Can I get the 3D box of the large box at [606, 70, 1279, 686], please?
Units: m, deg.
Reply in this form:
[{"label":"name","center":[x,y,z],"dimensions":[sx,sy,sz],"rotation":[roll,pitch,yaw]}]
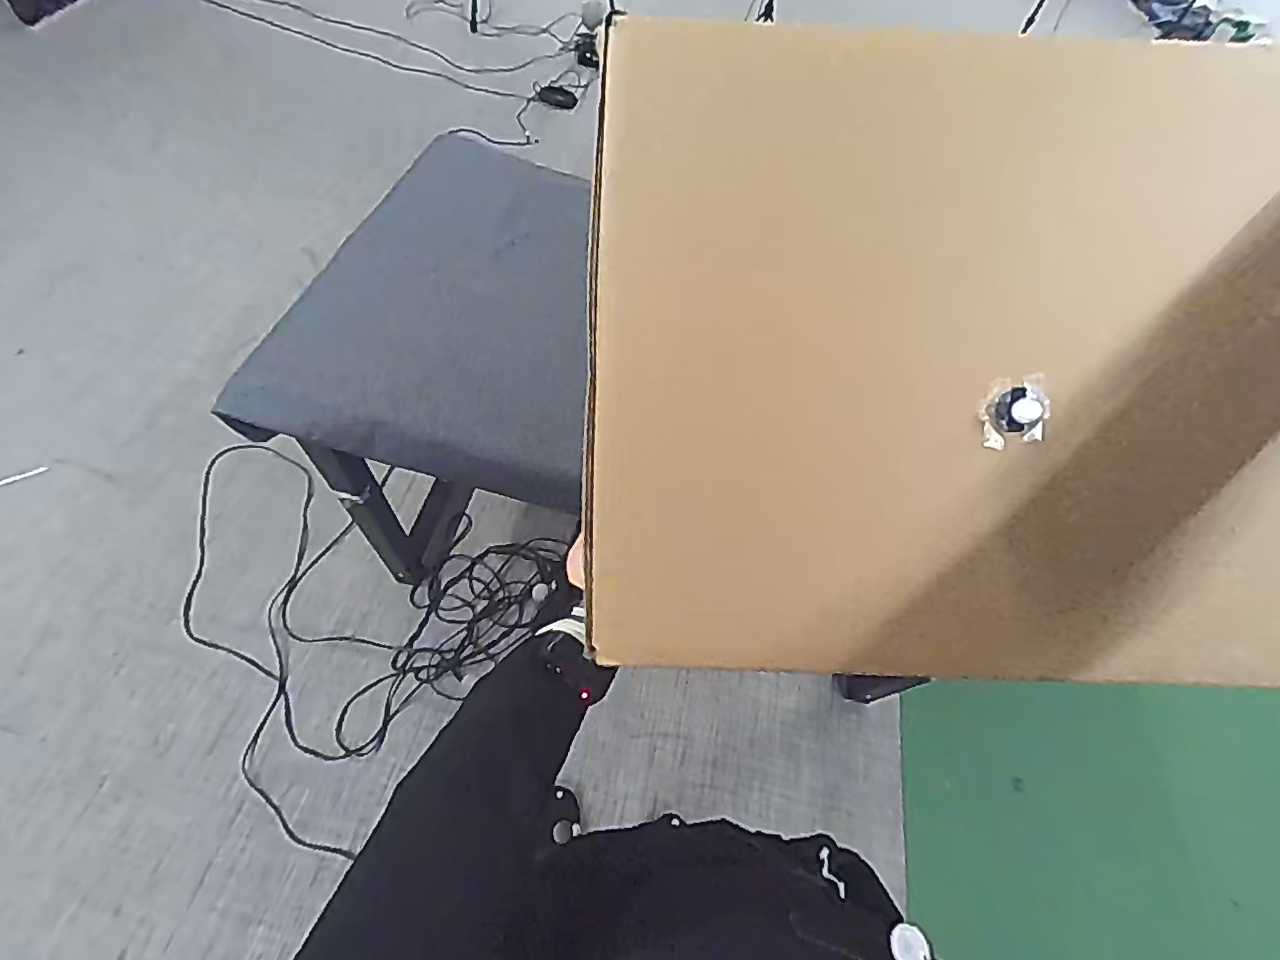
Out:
[{"label":"large box","center":[0.180,-0.061,0.423],"dimensions":[0.408,0.320,0.320],"rotation":[0,99,-1]}]
